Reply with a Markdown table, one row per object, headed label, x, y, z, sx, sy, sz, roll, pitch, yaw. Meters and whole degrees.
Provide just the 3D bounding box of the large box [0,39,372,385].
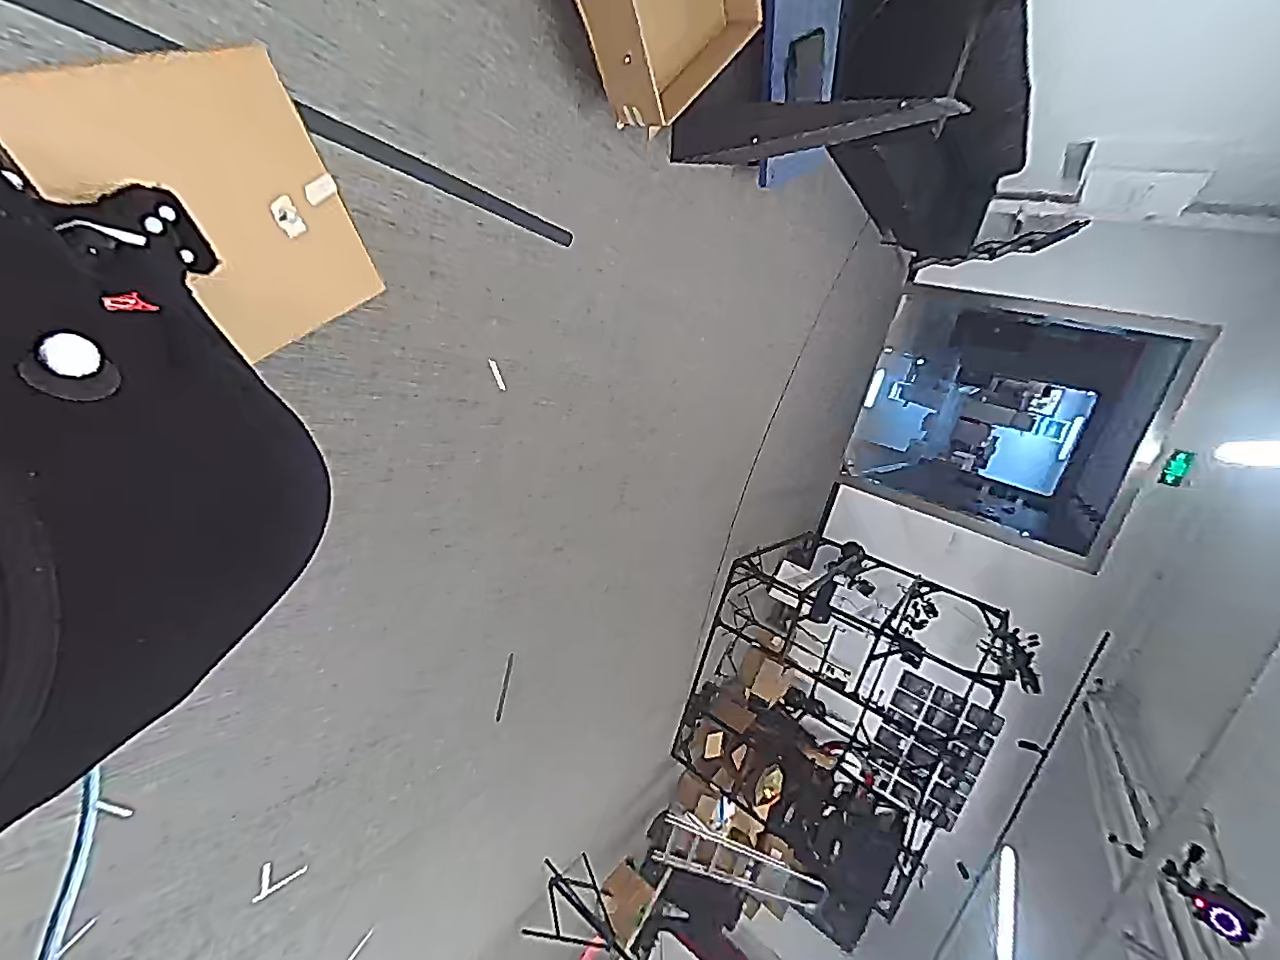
| label | x | y | z | sx | sy | sz | roll | pitch | yaw |
| --- | --- | --- | --- | --- | --- | --- | --- | --- | --- |
| large box | -0.675 | -0.346 | 0.743 | 0.320 | 0.408 | 0.320 | -55 | 141 | -40 |
